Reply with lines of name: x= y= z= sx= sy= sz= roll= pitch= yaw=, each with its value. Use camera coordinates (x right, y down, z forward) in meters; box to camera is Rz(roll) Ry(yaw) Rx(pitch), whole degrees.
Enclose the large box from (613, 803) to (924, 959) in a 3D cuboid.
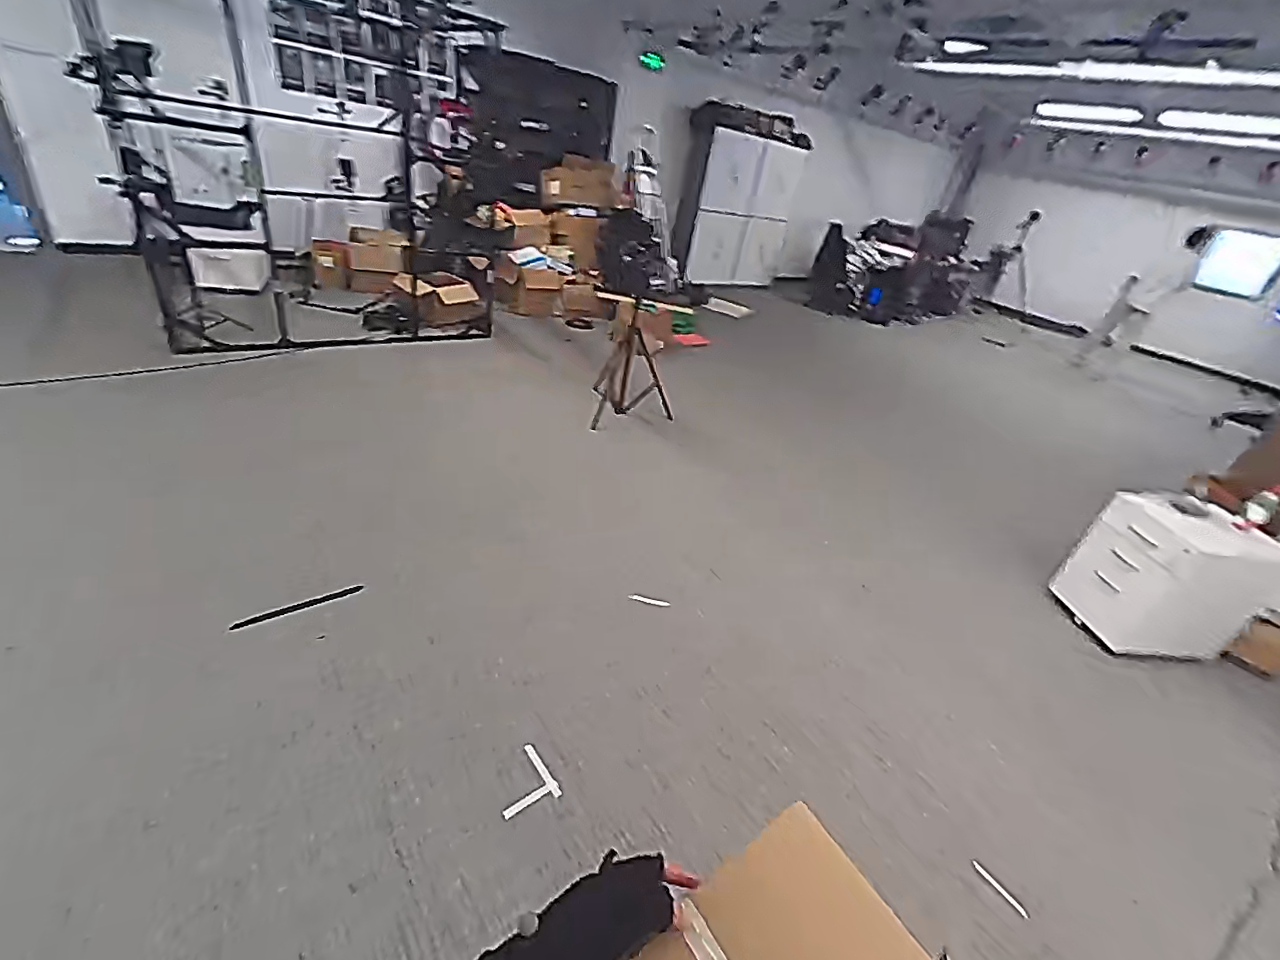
large box: x=0.134 y=0.604 z=0.470 sx=0.320 sy=0.320 sz=0.408 roll=-22 pitch=48 yaw=-29
